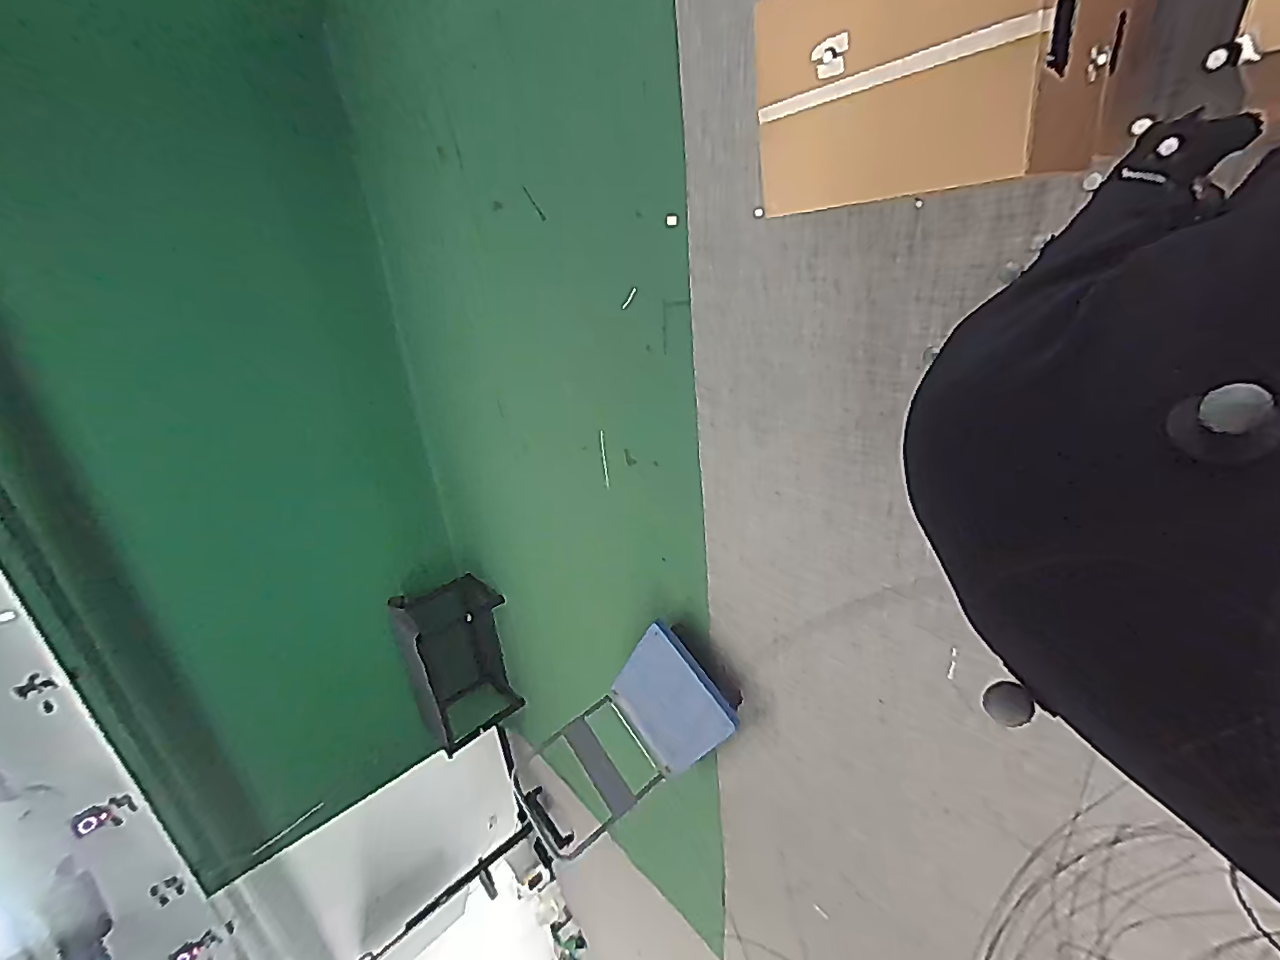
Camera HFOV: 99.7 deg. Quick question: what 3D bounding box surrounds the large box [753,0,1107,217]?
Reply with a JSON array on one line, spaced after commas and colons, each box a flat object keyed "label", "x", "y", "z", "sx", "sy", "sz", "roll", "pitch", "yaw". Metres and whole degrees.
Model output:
[{"label": "large box", "x": 0.441, "y": -0.628, "z": 0.853, "sx": 0.408, "sy": 0.320, "sz": 0.320, "roll": 18, "pitch": 125, "yaw": 47}]
